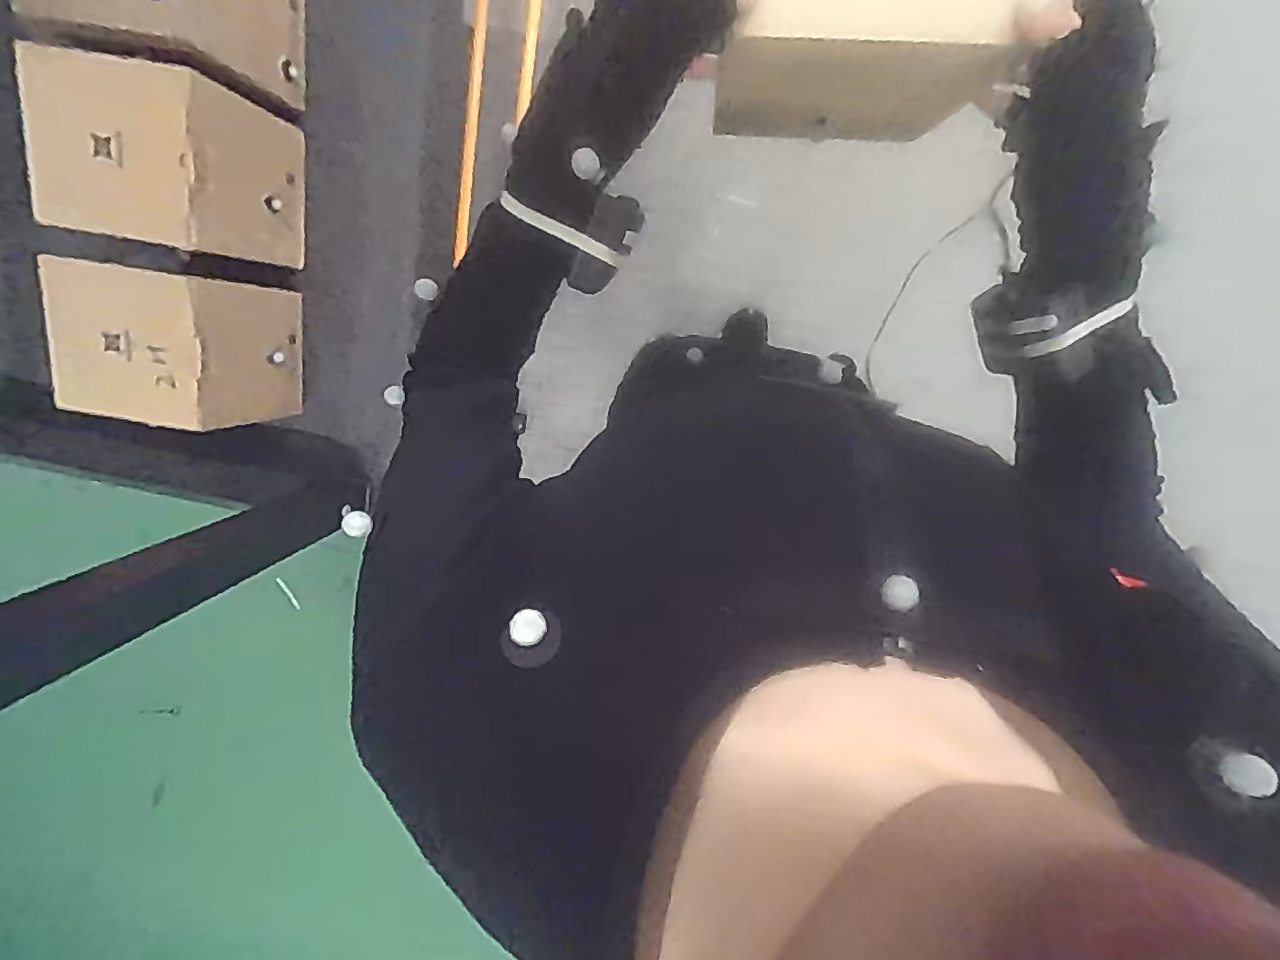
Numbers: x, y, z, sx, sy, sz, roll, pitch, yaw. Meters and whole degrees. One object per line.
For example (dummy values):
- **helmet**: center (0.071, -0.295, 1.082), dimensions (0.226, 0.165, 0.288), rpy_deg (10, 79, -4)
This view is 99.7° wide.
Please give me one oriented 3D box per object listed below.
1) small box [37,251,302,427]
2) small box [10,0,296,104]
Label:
- **small box**: center (-0.554, -0.168, 0.660), dimensions (0.179, 0.176, 0.168), rpy_deg (10, 105, 3)
- **small box**: center (-0.492, -0.525, 0.566), dimensions (0.179, 0.176, 0.168), rpy_deg (10, 105, 4)
